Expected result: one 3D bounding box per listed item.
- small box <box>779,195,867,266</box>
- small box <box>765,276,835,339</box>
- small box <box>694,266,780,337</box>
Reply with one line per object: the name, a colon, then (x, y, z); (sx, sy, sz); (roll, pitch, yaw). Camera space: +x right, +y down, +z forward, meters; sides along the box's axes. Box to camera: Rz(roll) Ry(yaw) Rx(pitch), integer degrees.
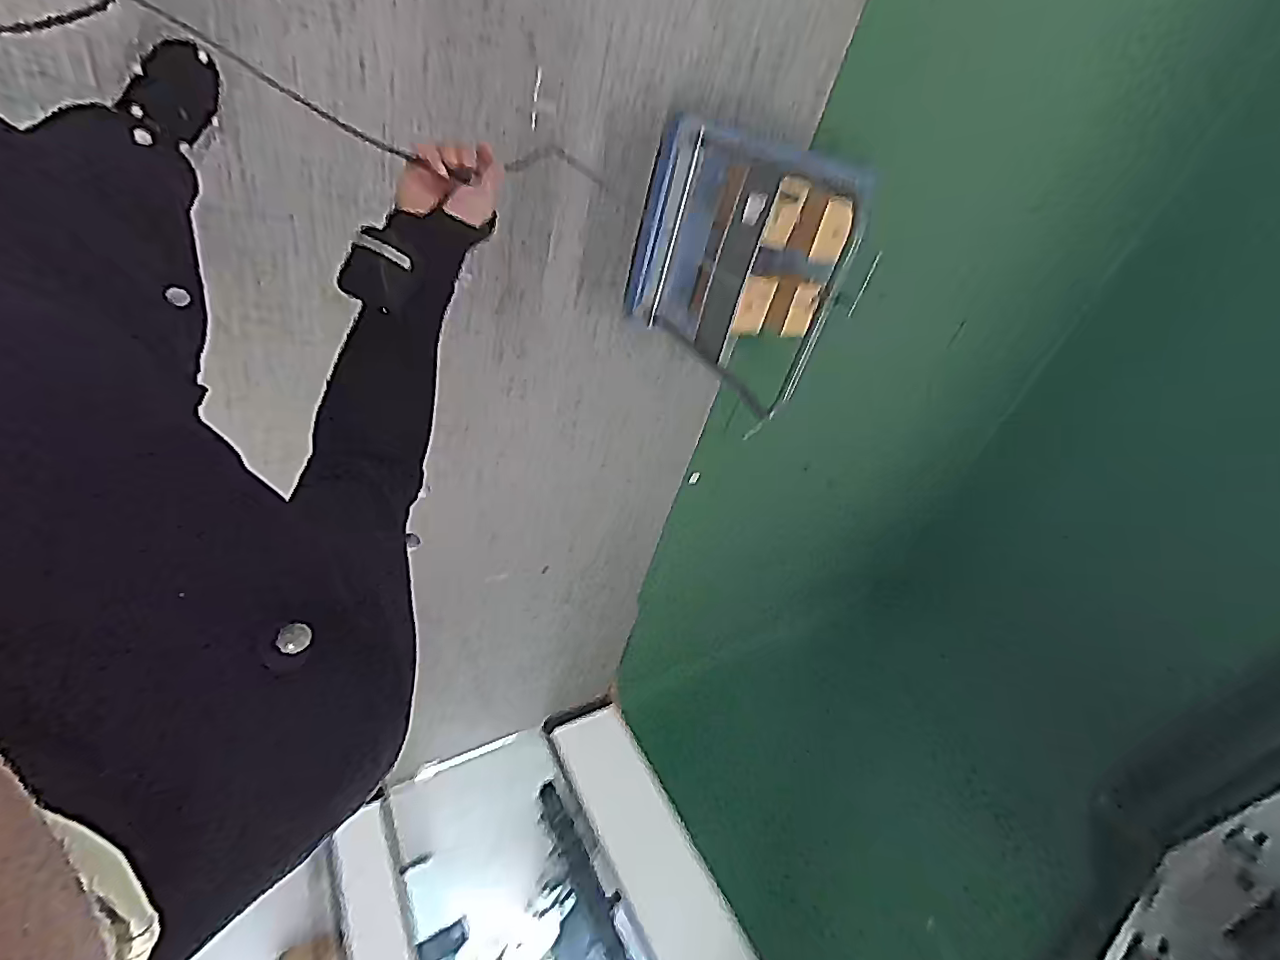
small box: (0.578, -0.802, 1.735); (0.179, 0.176, 0.168); (-11, 132, -30)
small box: (0.532, -0.601, 1.879); (0.179, 0.176, 0.168); (-10, 130, -30)
small box: (0.306, -0.572, 1.734); (0.179, 0.176, 0.168); (-6, 129, -33)
